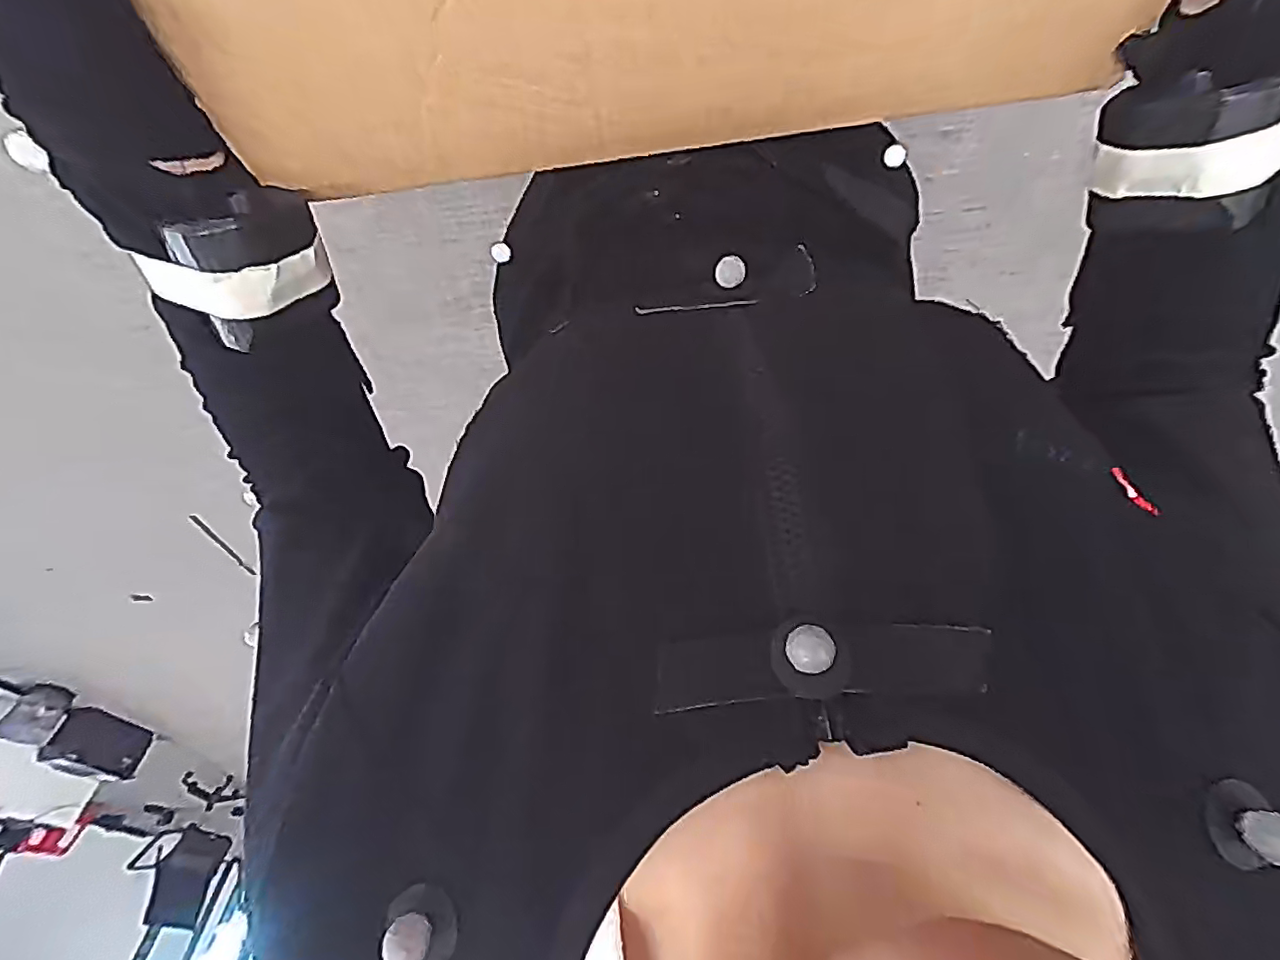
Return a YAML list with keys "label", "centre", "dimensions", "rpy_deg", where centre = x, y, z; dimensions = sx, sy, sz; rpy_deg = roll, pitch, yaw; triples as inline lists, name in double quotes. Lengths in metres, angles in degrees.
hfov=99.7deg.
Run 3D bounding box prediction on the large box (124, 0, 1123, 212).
- label: "large box"
  centre: [-0.011, -0.362, 0.196]
  dimensions: [0.408, 0.320, 0.320]
  rpy_deg: [-7, 156, 2]
